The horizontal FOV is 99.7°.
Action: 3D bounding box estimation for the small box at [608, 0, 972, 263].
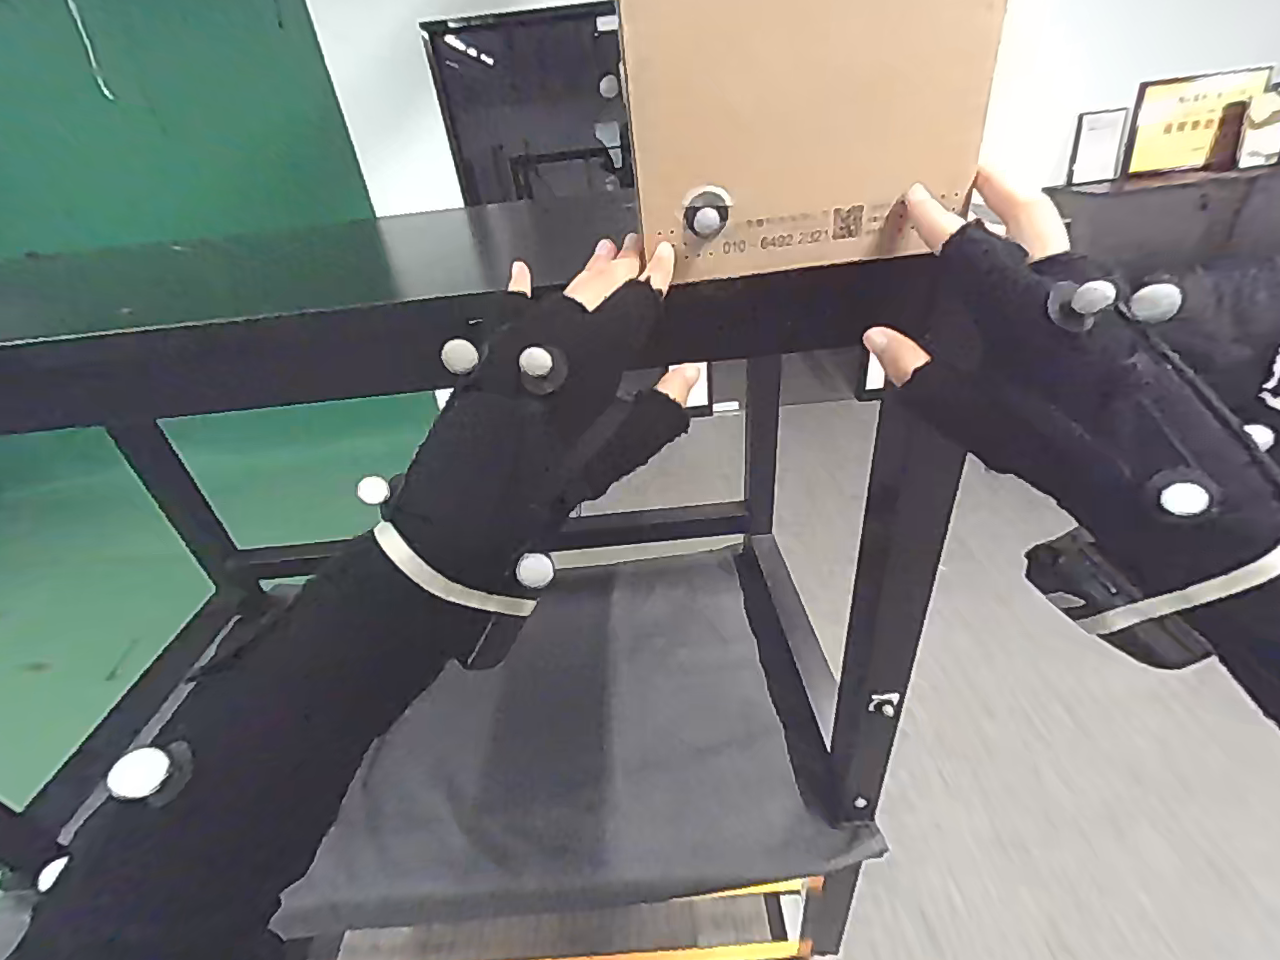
[{"bbox_3d":[0.072,-0.231,0.317,0.168,0.176,0.179,-5,31,3],"label":"small box"}]
